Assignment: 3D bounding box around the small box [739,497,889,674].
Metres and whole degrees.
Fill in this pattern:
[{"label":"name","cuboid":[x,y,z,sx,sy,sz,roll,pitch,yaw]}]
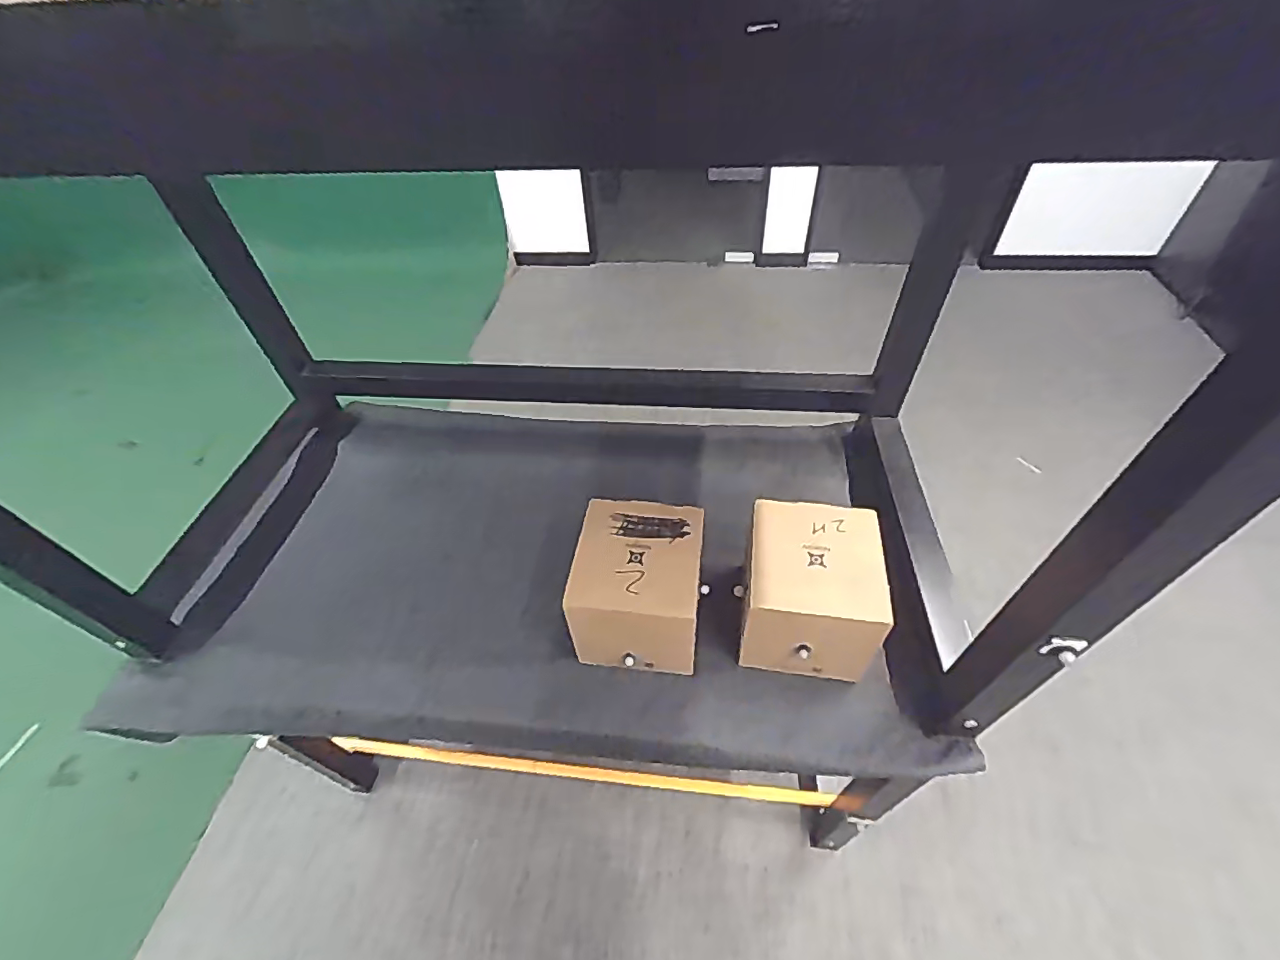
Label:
[{"label":"small box","cuboid":[0.230,0.149,0.753,0.168,0.176,0.179,6,48,9]}]
